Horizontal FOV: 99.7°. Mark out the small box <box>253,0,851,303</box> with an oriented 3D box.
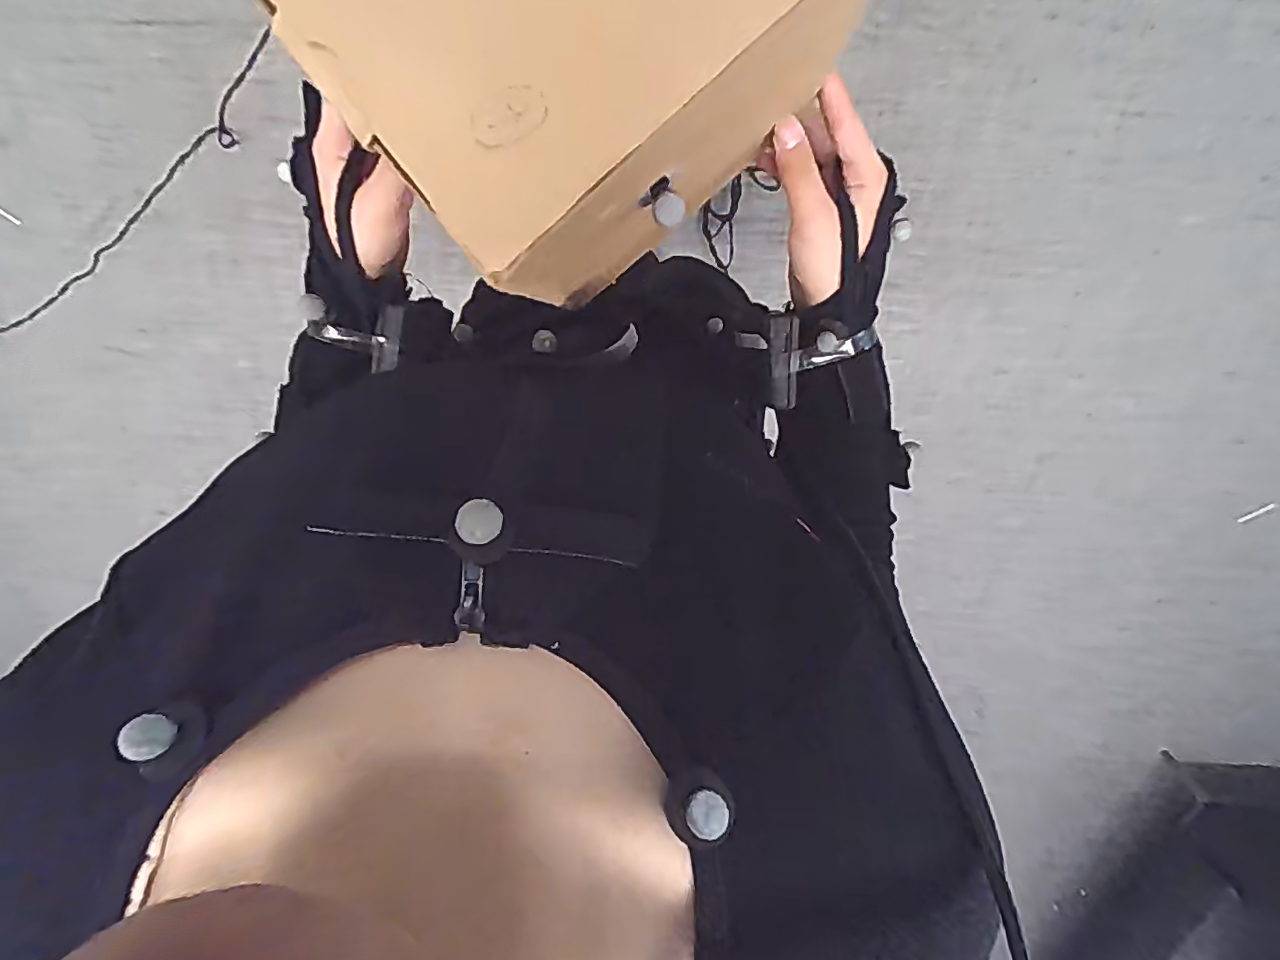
[{"bbox_3d":[-0.028,-0.197,0.236,0.179,0.176,0.168,-36,99,12],"label":"small box"}]
